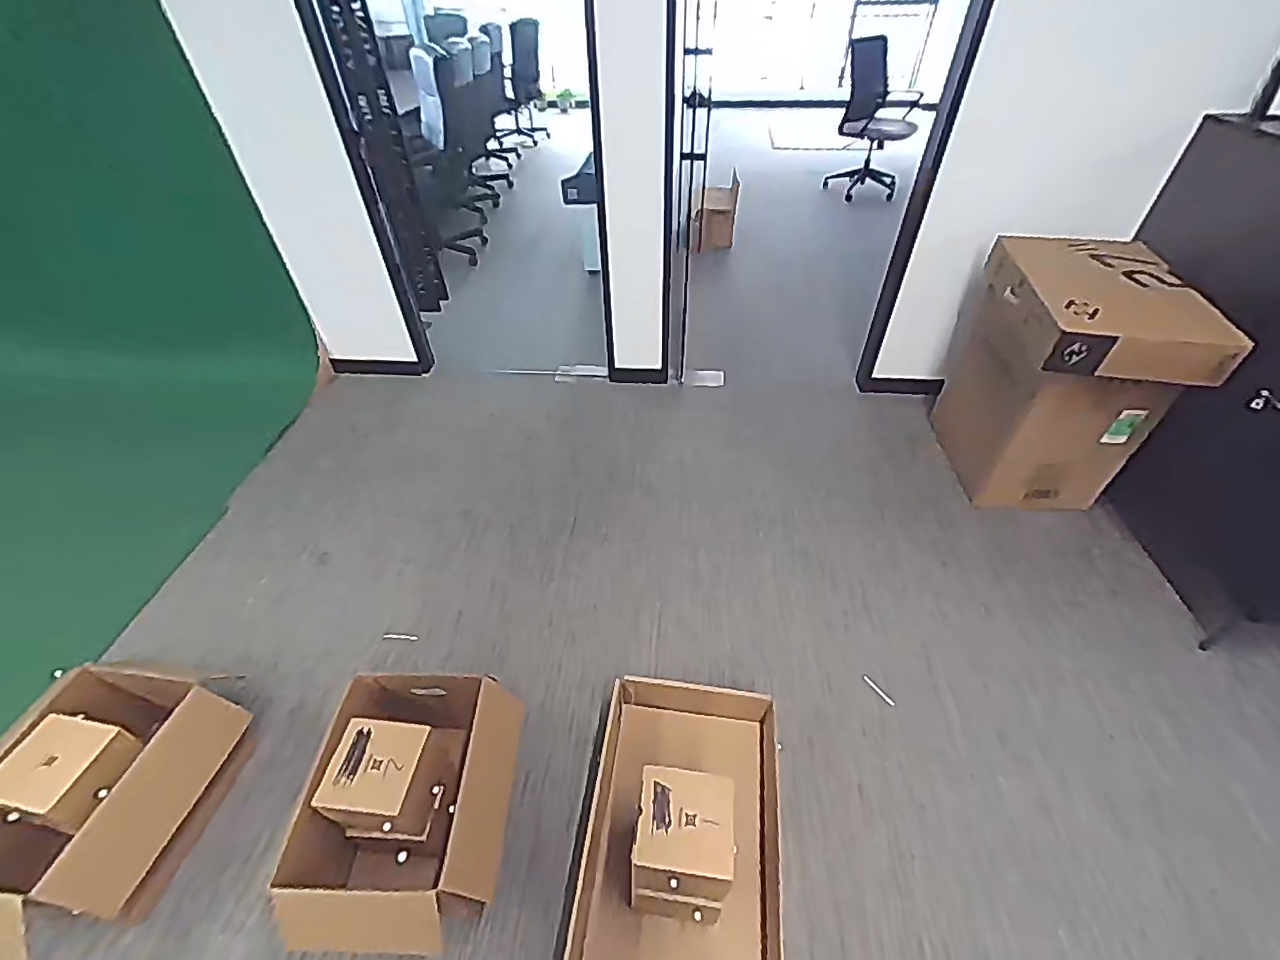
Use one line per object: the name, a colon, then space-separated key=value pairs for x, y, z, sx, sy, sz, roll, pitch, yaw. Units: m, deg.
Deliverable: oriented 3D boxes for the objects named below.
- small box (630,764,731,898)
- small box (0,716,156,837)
small box: x=0.077 y=0.669 z=1.030 sx=0.179 sy=0.176 sz=0.168 roll=6 pitch=42 yaw=4
small box: x=-1.188 y=0.622 z=1.129 sx=0.179 sy=0.176 sz=0.168 roll=7 pitch=43 yaw=7
